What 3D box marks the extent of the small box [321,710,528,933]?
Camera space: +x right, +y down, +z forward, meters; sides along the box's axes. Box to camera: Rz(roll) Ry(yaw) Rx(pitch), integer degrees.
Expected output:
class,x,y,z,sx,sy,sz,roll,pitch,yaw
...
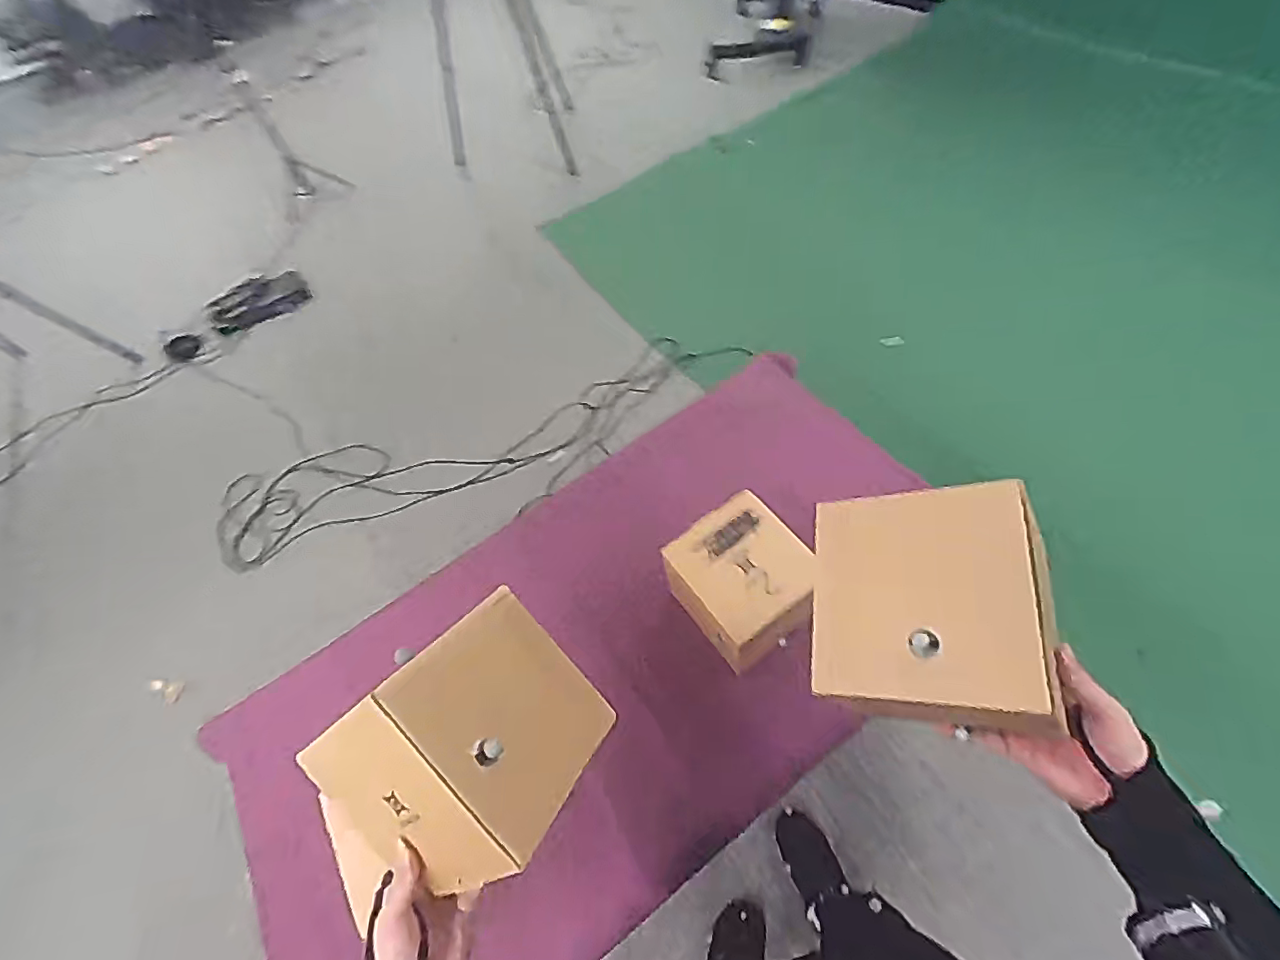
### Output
class,x,y,z,sx,sy,sz,roll,pitch,yaw
small box,-0.277,0.445,0.719,0.168,0.176,0.179,-35,58,-12
